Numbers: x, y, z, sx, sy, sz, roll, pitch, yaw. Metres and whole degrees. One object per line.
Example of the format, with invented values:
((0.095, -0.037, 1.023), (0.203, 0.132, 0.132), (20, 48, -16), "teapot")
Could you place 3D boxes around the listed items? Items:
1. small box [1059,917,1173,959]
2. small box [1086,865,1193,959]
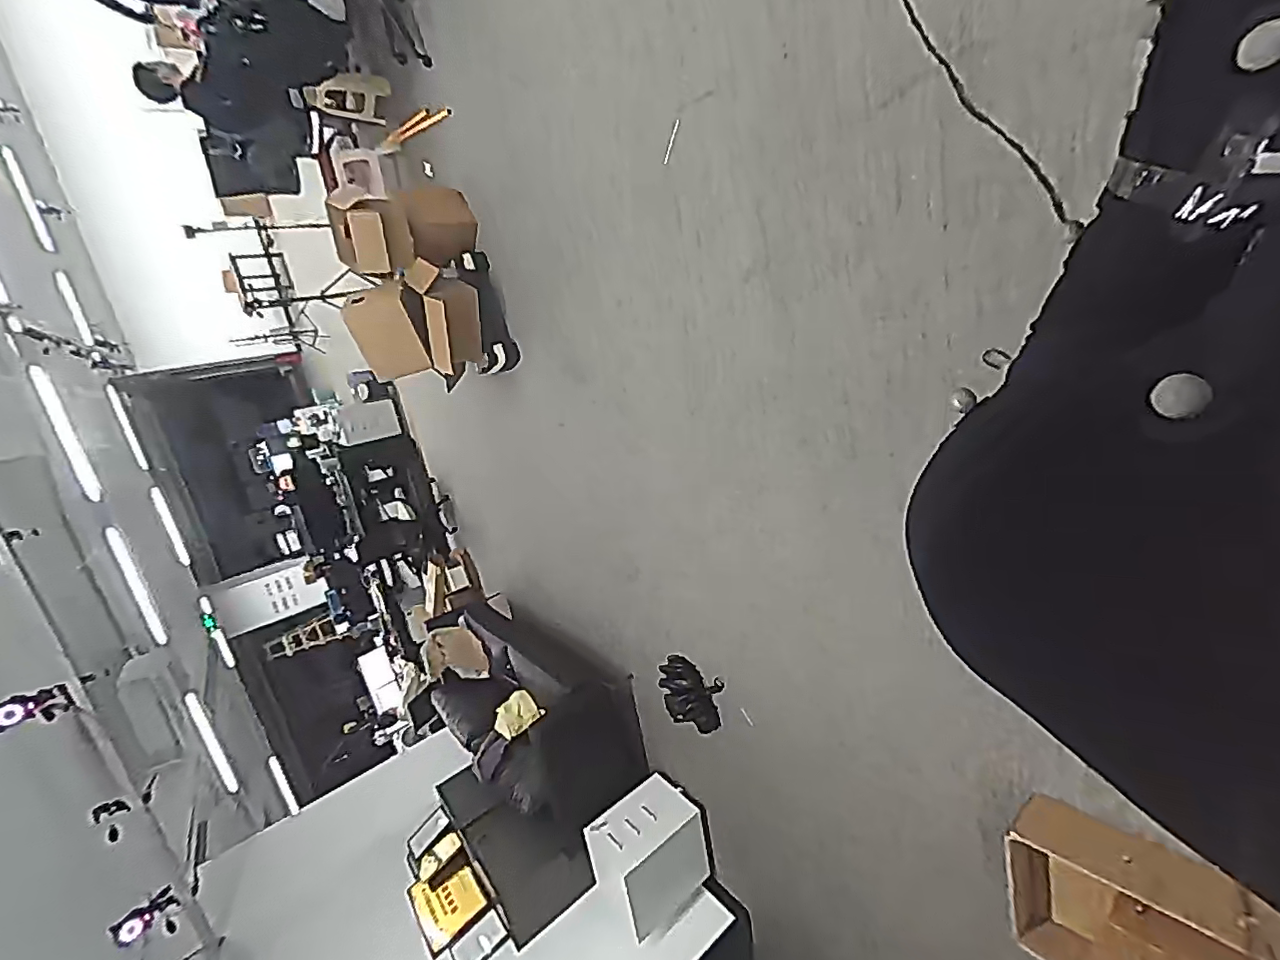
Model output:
((1.080, 1.146, 1.220), (0.179, 0.176, 0.168), (5, 112, 53), "small box")
((1.207, 1.096, 1.310), (0.168, 0.176, 0.179), (8, 116, 53), "small box")
